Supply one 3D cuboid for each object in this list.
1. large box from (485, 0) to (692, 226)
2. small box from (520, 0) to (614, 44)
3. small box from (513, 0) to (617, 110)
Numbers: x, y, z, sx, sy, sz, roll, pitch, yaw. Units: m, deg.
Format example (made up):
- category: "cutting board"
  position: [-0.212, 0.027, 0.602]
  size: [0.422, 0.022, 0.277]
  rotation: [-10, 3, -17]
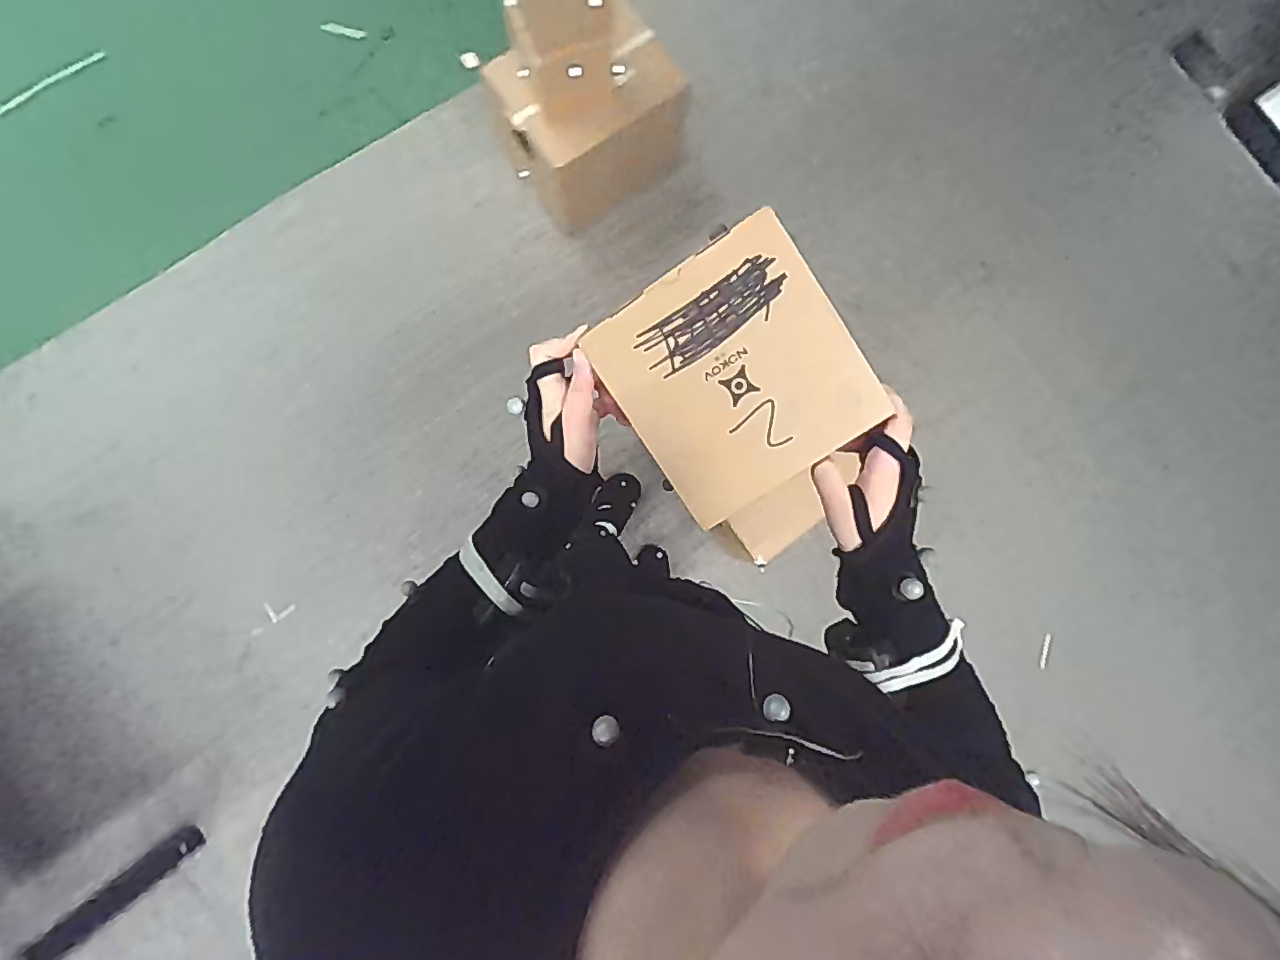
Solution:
- category: "large box"
  position: [-0.128, -0.971, 1.426]
  size: [0.408, 0.320, 0.320]
  rotation: [-36, 88, -5]
- category: "small box"
  position: [-0.151, -0.986, 1.020]
  size: [0.179, 0.176, 0.168]
  rotation: [-21, 86, -3]
- category: "small box"
  position: [-0.163, -0.964, 1.181]
  size: [0.179, 0.176, 0.168]
  rotation: [-25, 87, -4]
